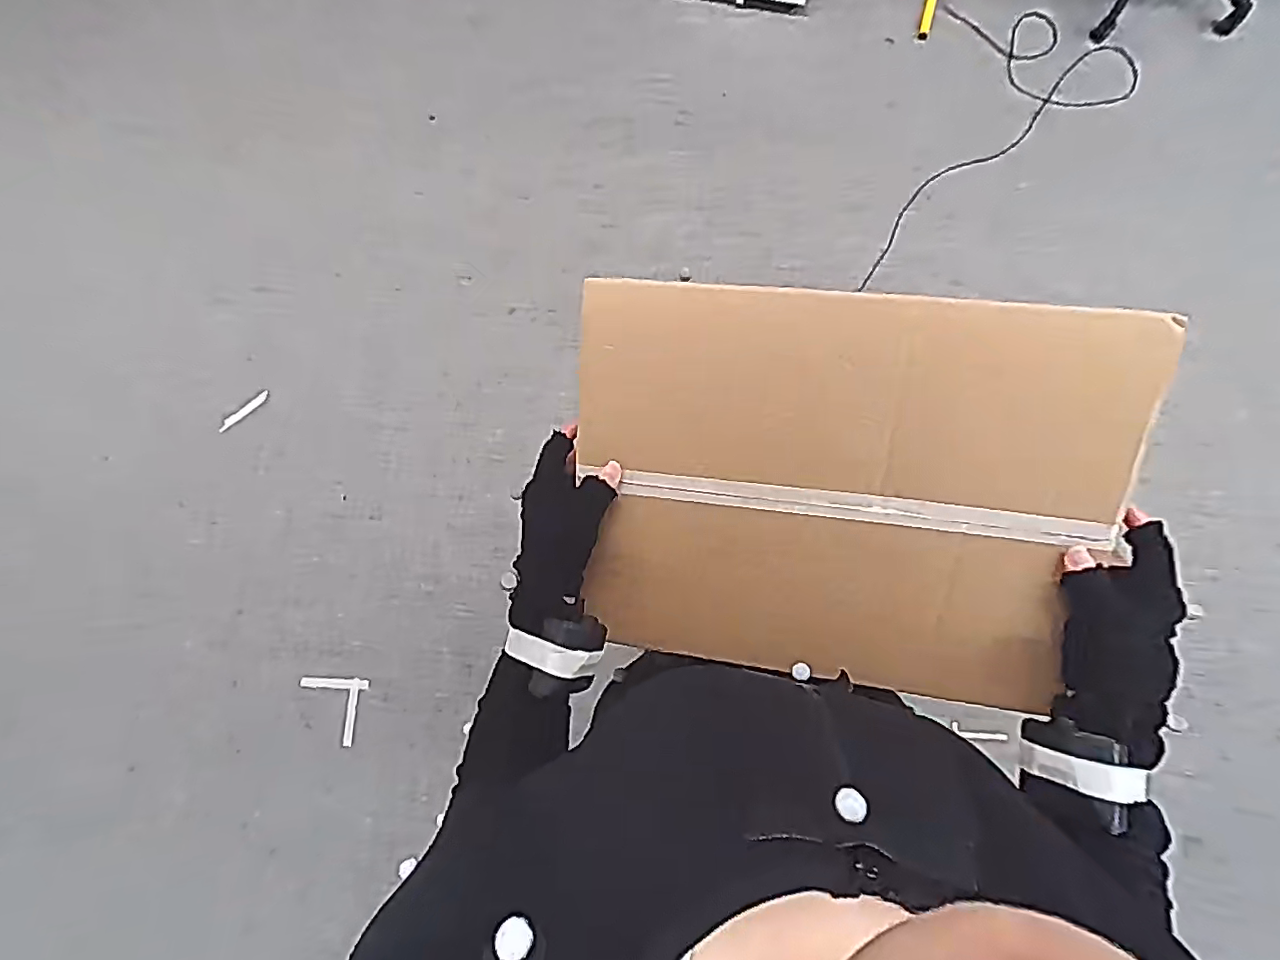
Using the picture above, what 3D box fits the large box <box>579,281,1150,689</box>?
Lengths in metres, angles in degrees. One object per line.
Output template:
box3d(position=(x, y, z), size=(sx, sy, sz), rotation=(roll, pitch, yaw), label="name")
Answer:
box3d(position=(0.169, -0.029, 0.579), size=(0.408, 0.320, 0.320), rotation=(7, 108, 9), label="large box")
